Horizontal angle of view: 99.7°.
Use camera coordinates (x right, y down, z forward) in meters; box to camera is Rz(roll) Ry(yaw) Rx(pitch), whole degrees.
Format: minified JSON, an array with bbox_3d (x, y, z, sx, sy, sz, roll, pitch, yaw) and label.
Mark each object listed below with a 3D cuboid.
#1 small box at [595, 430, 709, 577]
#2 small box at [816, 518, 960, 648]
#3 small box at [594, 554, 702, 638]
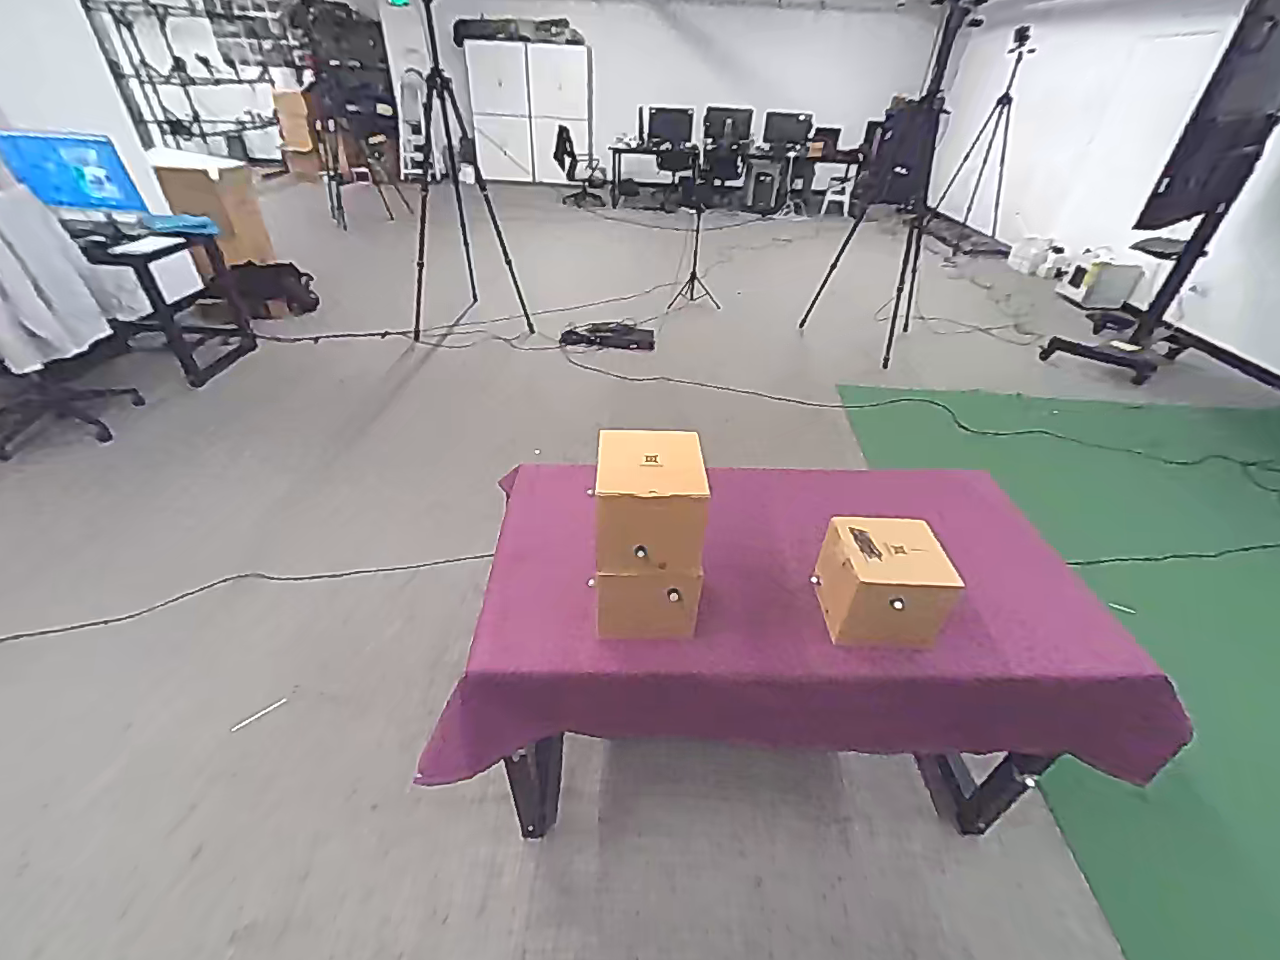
[{"bbox_3d":[0.012,0.036,0.886,0.168,0.176,0.179,1,38,-3],"label":"small box"},{"bbox_3d":[0.432,0.188,0.983,0.179,0.176,0.168,3,37,-1],"label":"small box"},{"bbox_3d":[0.009,0.170,0.979,0.179,0.176,0.168,1,36,-2],"label":"small box"}]
